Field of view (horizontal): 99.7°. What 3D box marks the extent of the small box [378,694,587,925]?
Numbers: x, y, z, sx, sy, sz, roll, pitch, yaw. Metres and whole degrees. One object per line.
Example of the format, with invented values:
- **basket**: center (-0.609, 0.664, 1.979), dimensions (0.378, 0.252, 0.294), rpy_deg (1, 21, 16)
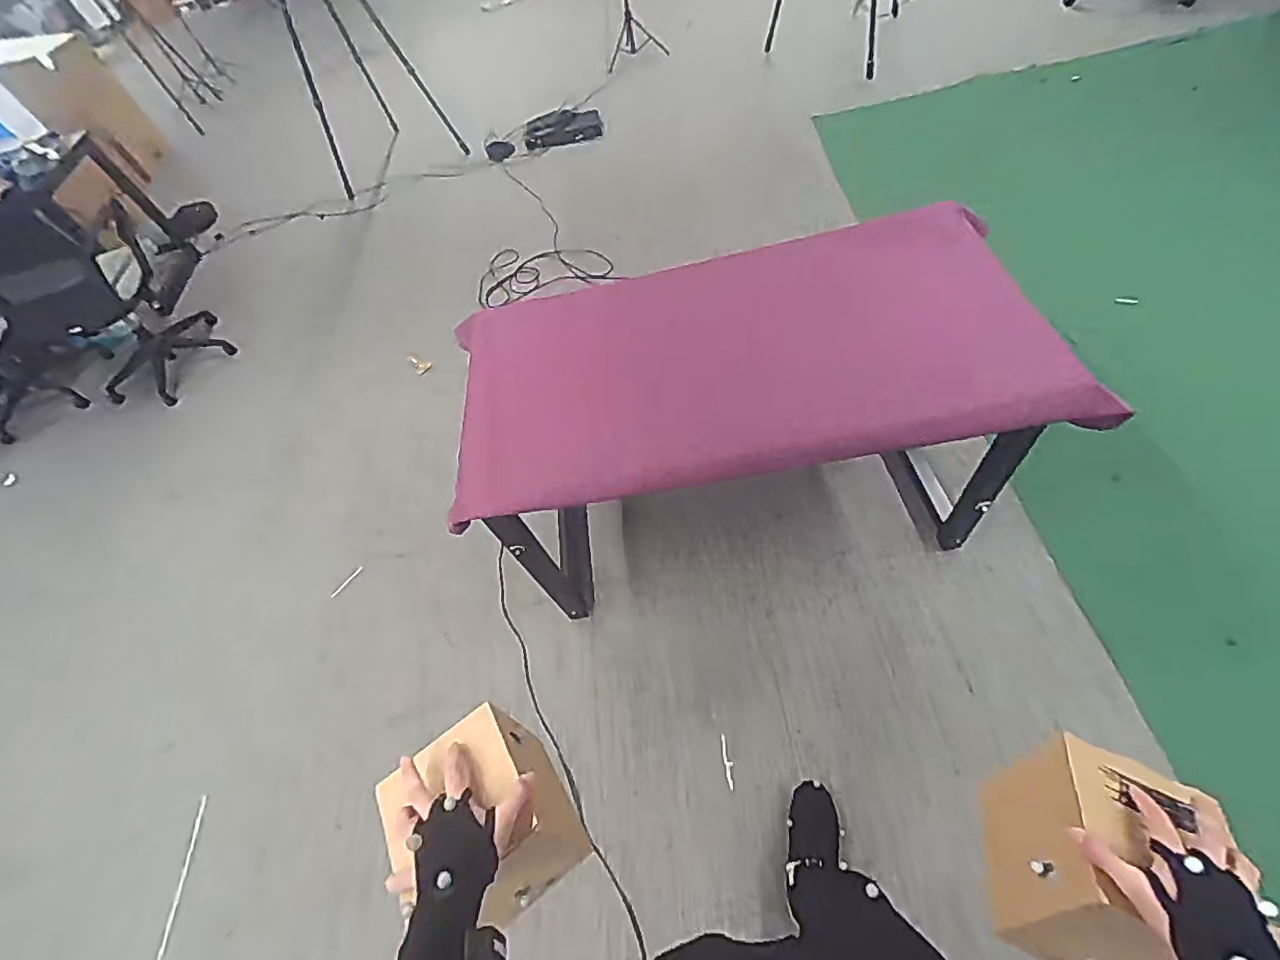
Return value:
- **small box**: center (-0.195, 0.418, 0.686), dimensions (0.168, 0.176, 0.179), rpy_deg (-35, 45, -10)
